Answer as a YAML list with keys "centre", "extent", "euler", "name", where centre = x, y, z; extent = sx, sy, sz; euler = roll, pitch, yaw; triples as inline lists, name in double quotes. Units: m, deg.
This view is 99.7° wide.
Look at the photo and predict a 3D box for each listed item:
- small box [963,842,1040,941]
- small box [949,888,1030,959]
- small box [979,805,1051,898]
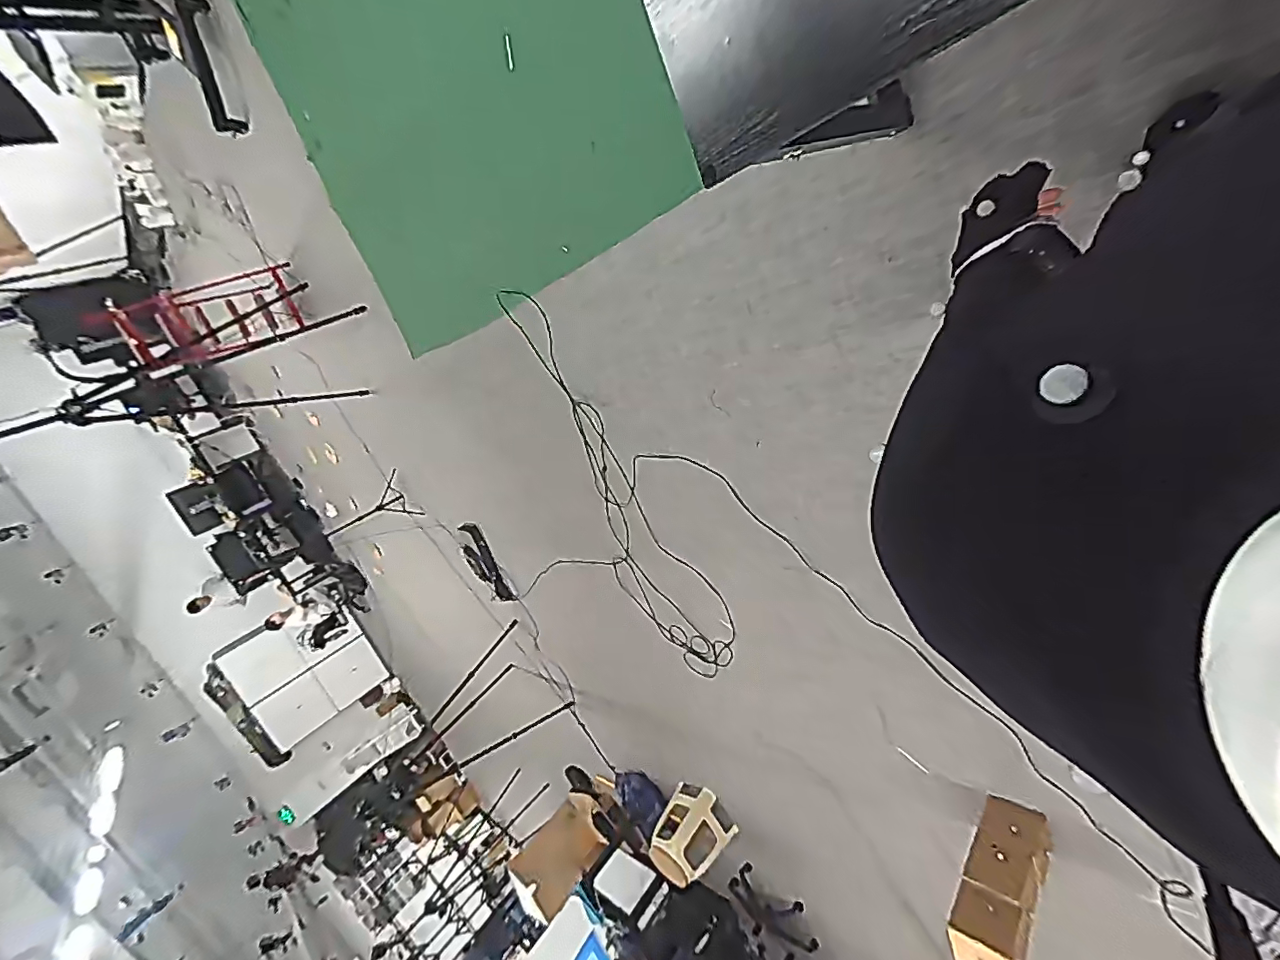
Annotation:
- centre: [1.177, 1.336, 1.755]
  extent: [0.168, 0.176, 0.179]
  euler: [-1, 115, 47]
  name: "small box"
- centre: [1.075, 1.418, 1.657]
  extent: [0.168, 0.176, 0.179]
  euler: [-1, 115, 47]
  name: "small box"
- centre: [1.288, 1.262, 1.851]
  extent: [0.179, 0.176, 0.168]
  euler: [-2, 115, 47]
  name: "small box"
